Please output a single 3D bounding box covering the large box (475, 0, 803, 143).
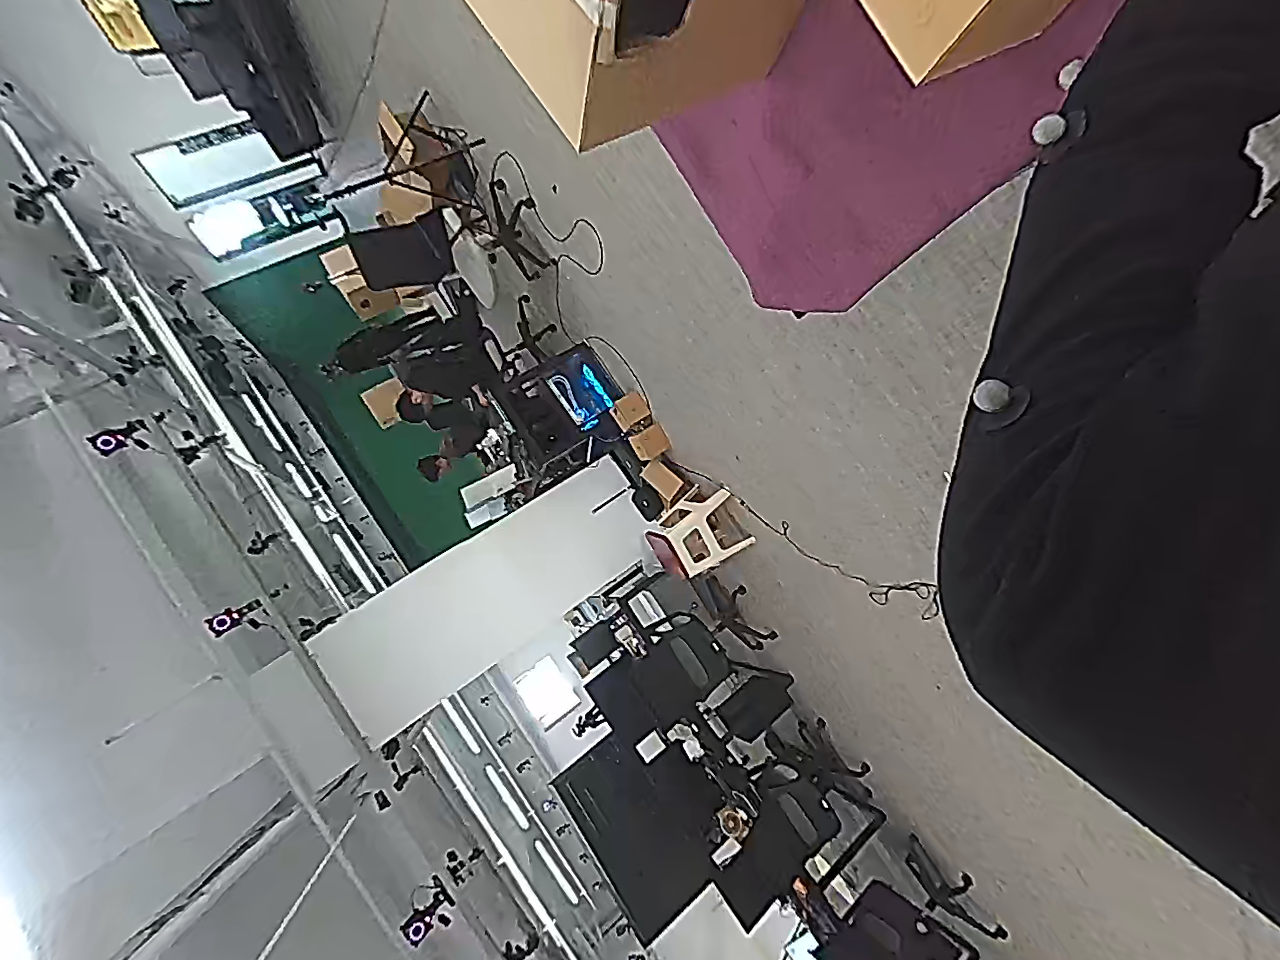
[{"bbox_3d":[-0.026,-0.656,0.534,0.408,0.320,0.320,53,162,3],"label":"large box"}]
